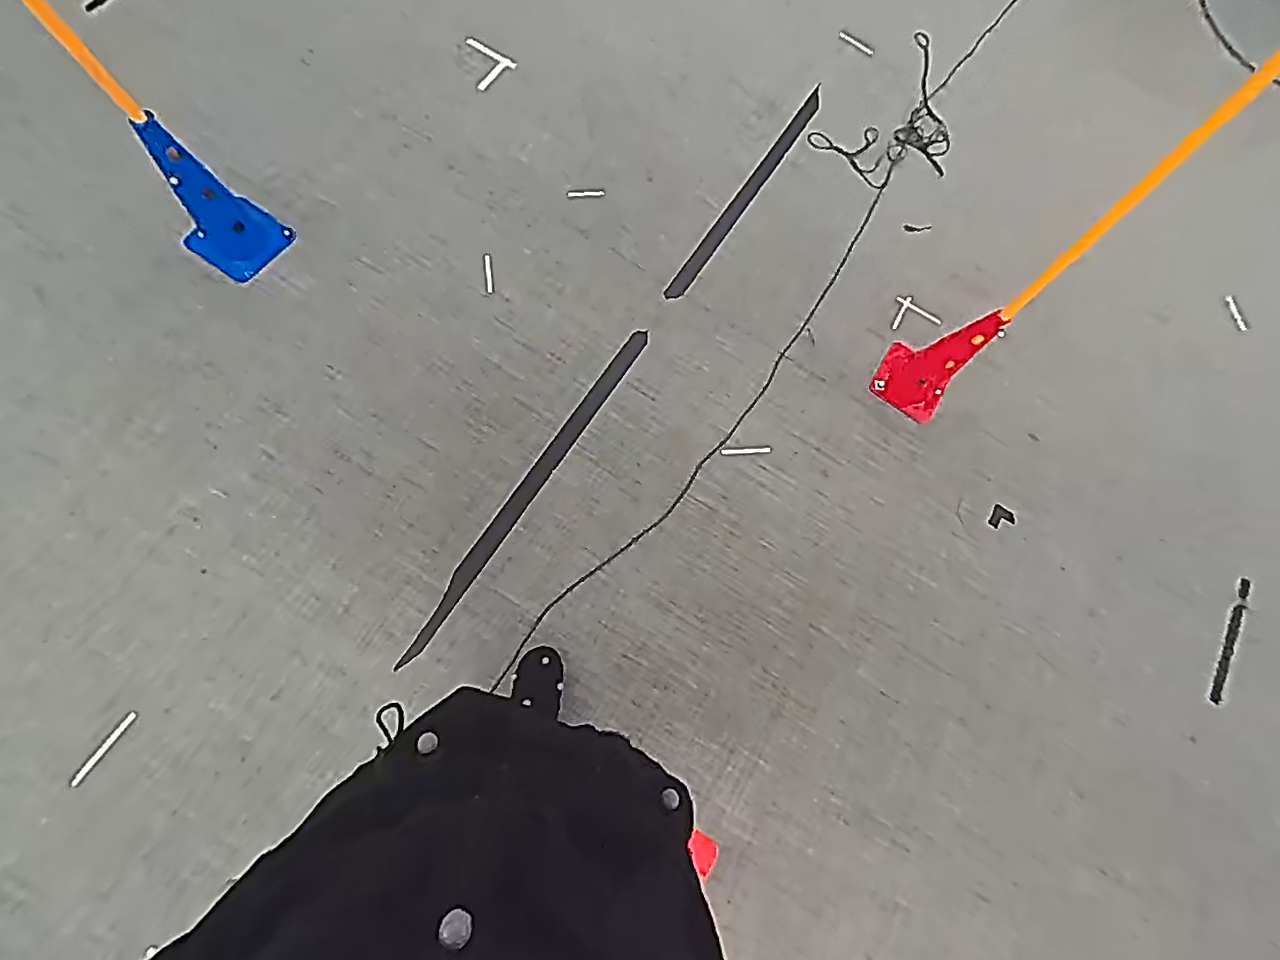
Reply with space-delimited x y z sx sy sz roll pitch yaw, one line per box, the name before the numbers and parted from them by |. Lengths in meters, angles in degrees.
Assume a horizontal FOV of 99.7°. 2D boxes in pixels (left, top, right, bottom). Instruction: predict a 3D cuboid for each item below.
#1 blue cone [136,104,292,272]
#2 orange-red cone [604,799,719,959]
blue cone | -1.022 -0.685 1.257 0.193 0.380 0.192 36 73 2
orange-red cone | 0.071 0.780 0.995 0.198 0.360 0.199 36 74 3
